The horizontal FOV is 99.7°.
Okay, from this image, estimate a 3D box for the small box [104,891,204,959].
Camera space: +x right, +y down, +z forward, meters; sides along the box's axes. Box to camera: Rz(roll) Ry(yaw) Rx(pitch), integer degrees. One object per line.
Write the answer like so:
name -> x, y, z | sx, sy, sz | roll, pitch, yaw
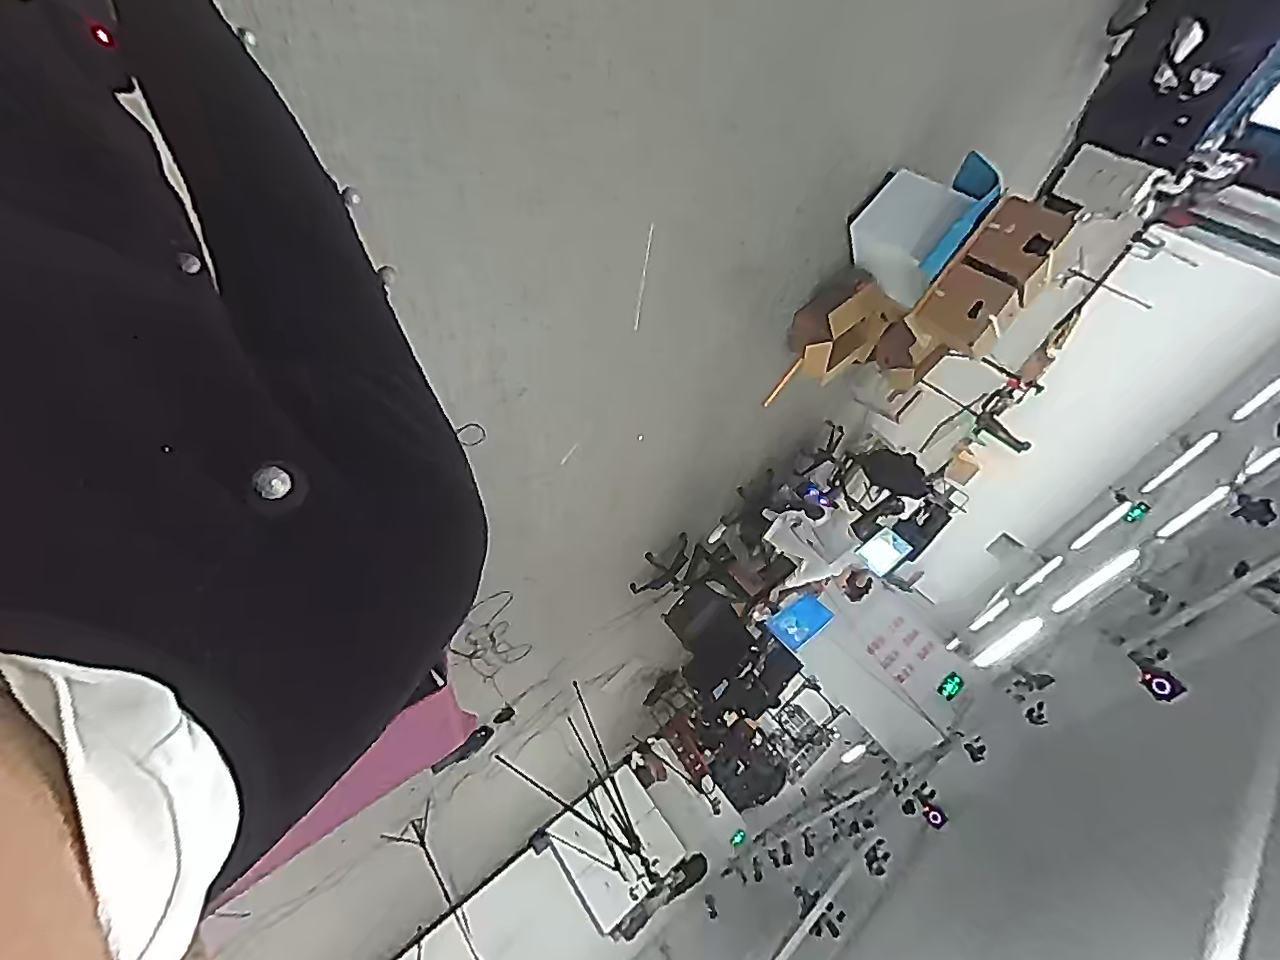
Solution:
small box -> -1.510, 1.425, 1.683 | 0.168, 0.176, 0.179 | -28, 149, -30
